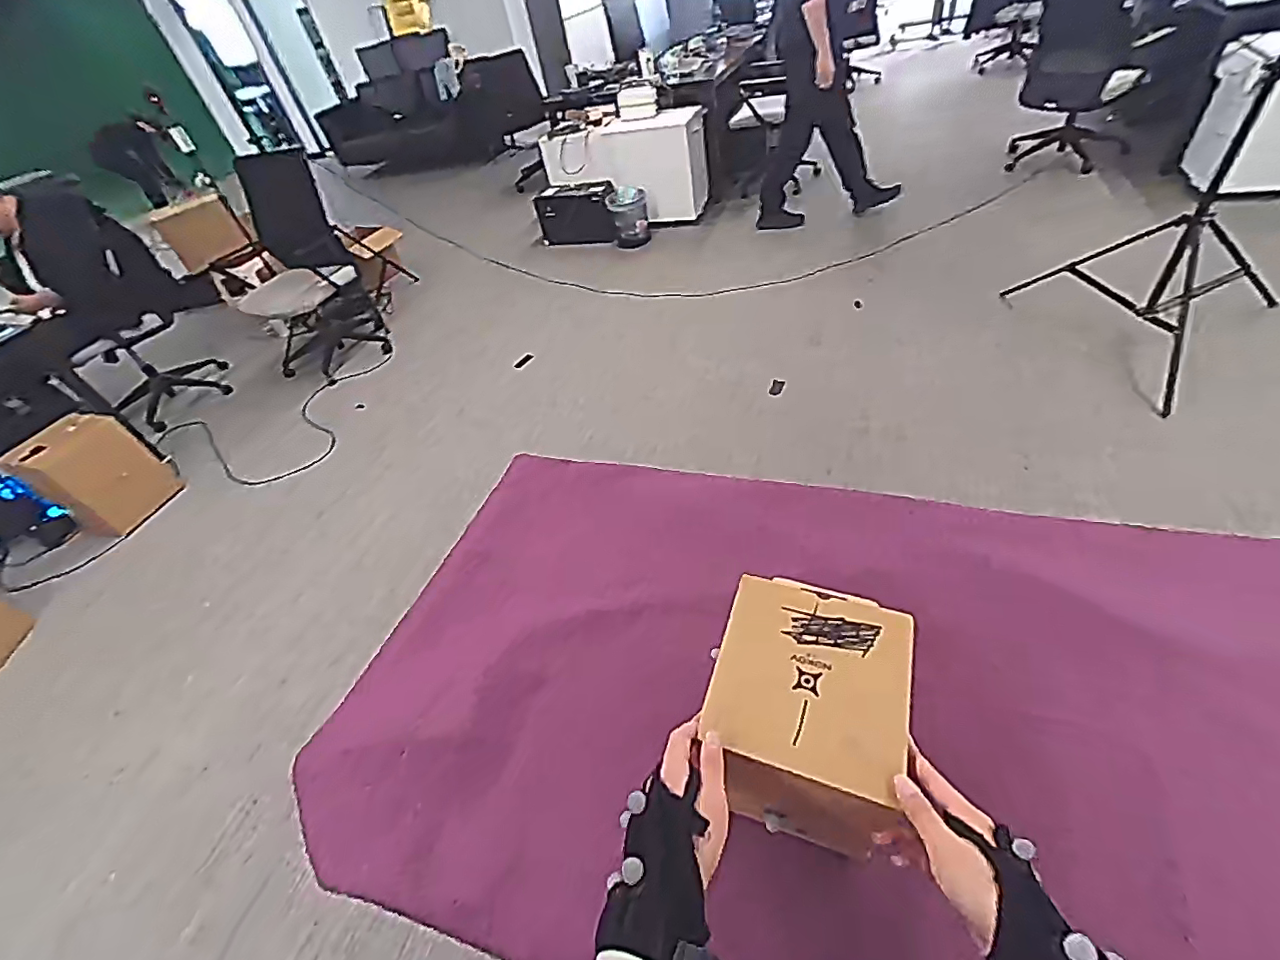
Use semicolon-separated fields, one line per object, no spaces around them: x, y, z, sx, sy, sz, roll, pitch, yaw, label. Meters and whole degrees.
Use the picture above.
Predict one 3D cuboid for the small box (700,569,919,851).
0.161;0.222;0.532;0.168;0.176;0.179;12;48;19;small box
